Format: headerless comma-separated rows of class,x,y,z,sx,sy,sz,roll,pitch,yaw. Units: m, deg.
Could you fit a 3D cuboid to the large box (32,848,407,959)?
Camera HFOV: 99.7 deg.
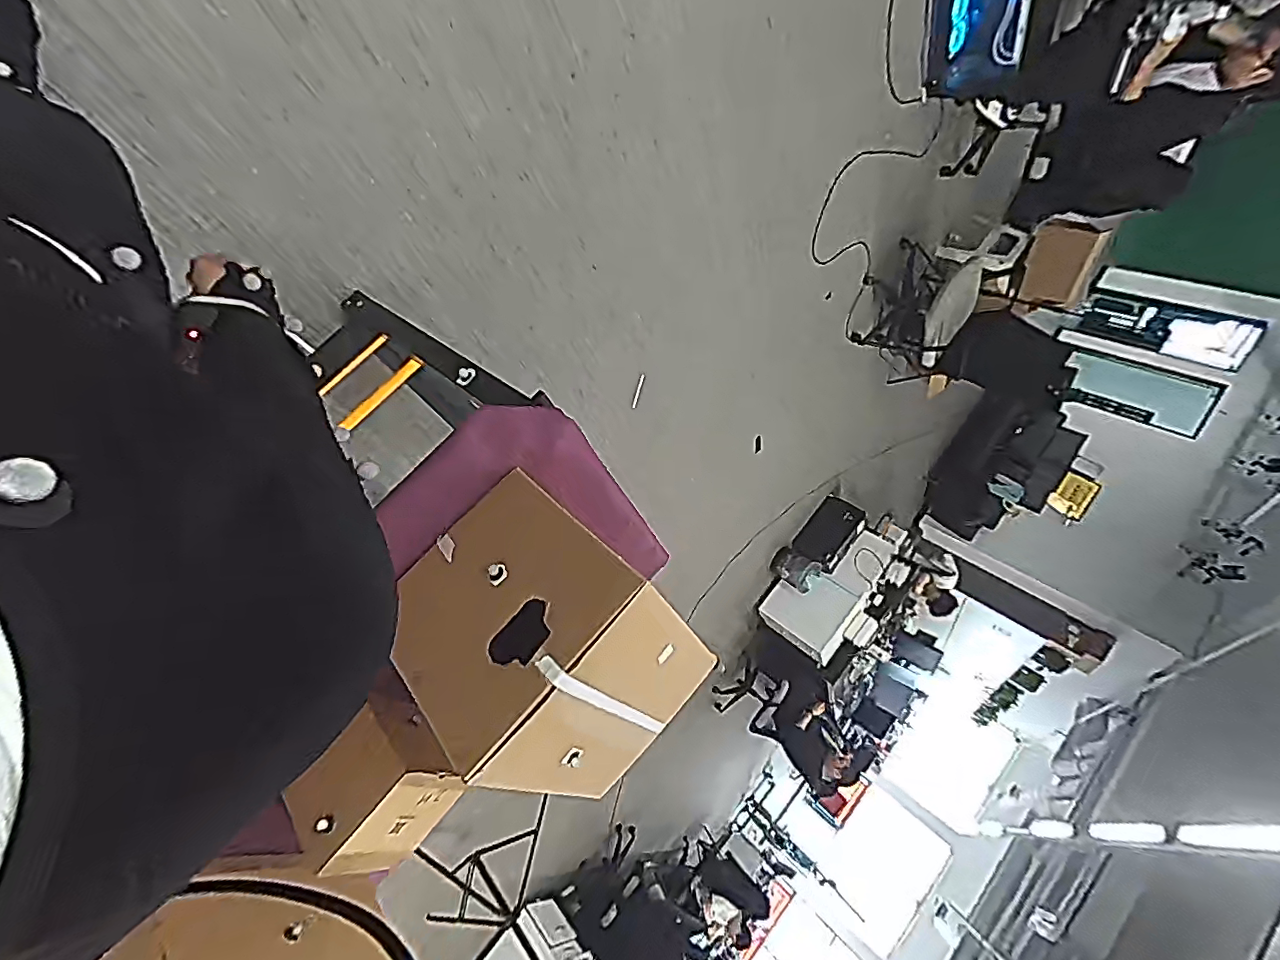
large box,-0.591,0.765,0.734,0.320,0.320,0.408,-48,146,-12
